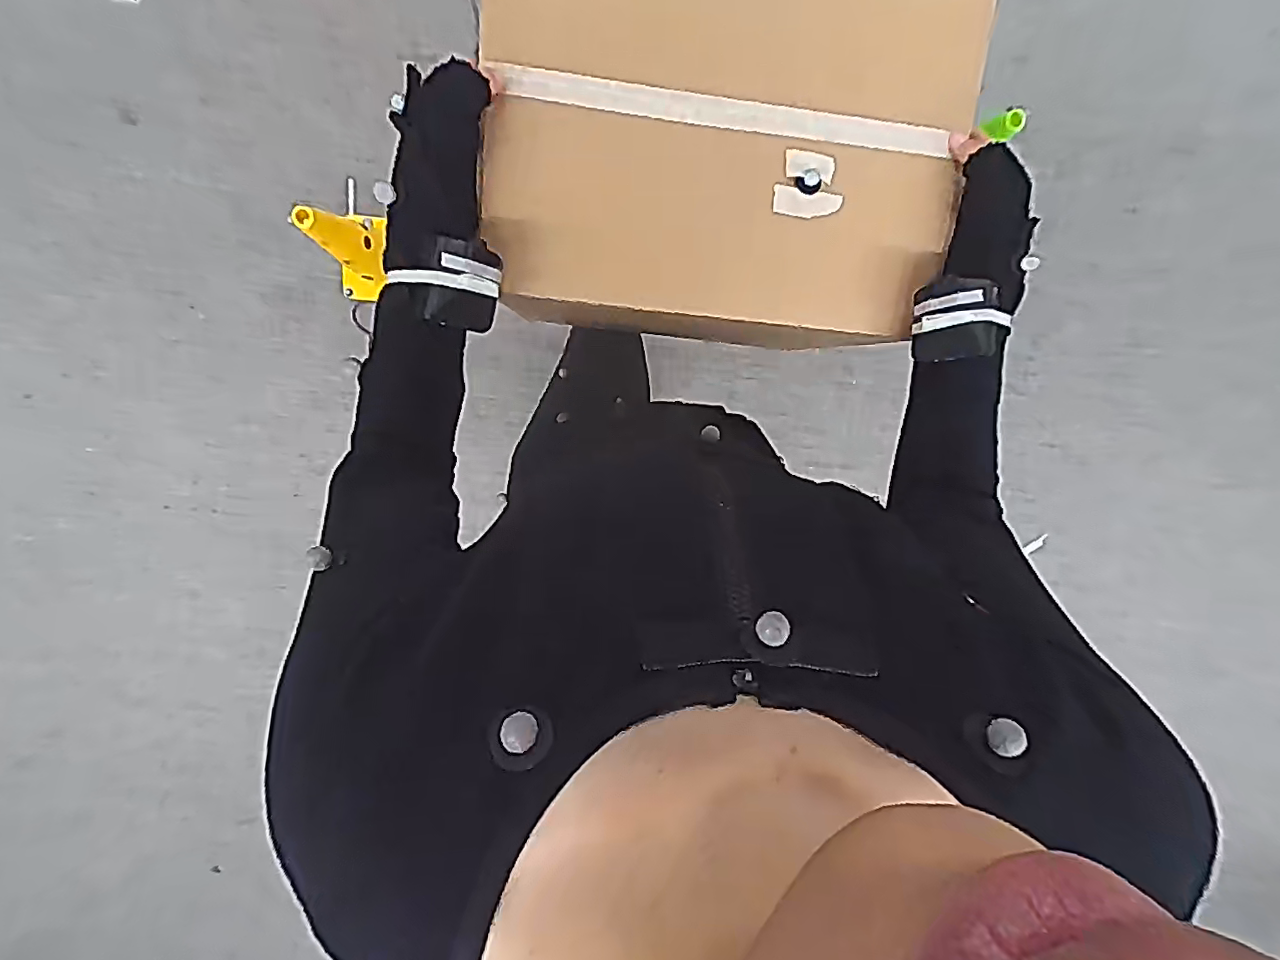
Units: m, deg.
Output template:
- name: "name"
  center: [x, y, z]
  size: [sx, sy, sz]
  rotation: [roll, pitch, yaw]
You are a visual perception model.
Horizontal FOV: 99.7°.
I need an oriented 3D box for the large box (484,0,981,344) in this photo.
- name: "large box"
  center: [0.060, -0.329, 0.590]
  size: [0.408, 0.320, 0.320]
  rotation: [4, 102, -7]
